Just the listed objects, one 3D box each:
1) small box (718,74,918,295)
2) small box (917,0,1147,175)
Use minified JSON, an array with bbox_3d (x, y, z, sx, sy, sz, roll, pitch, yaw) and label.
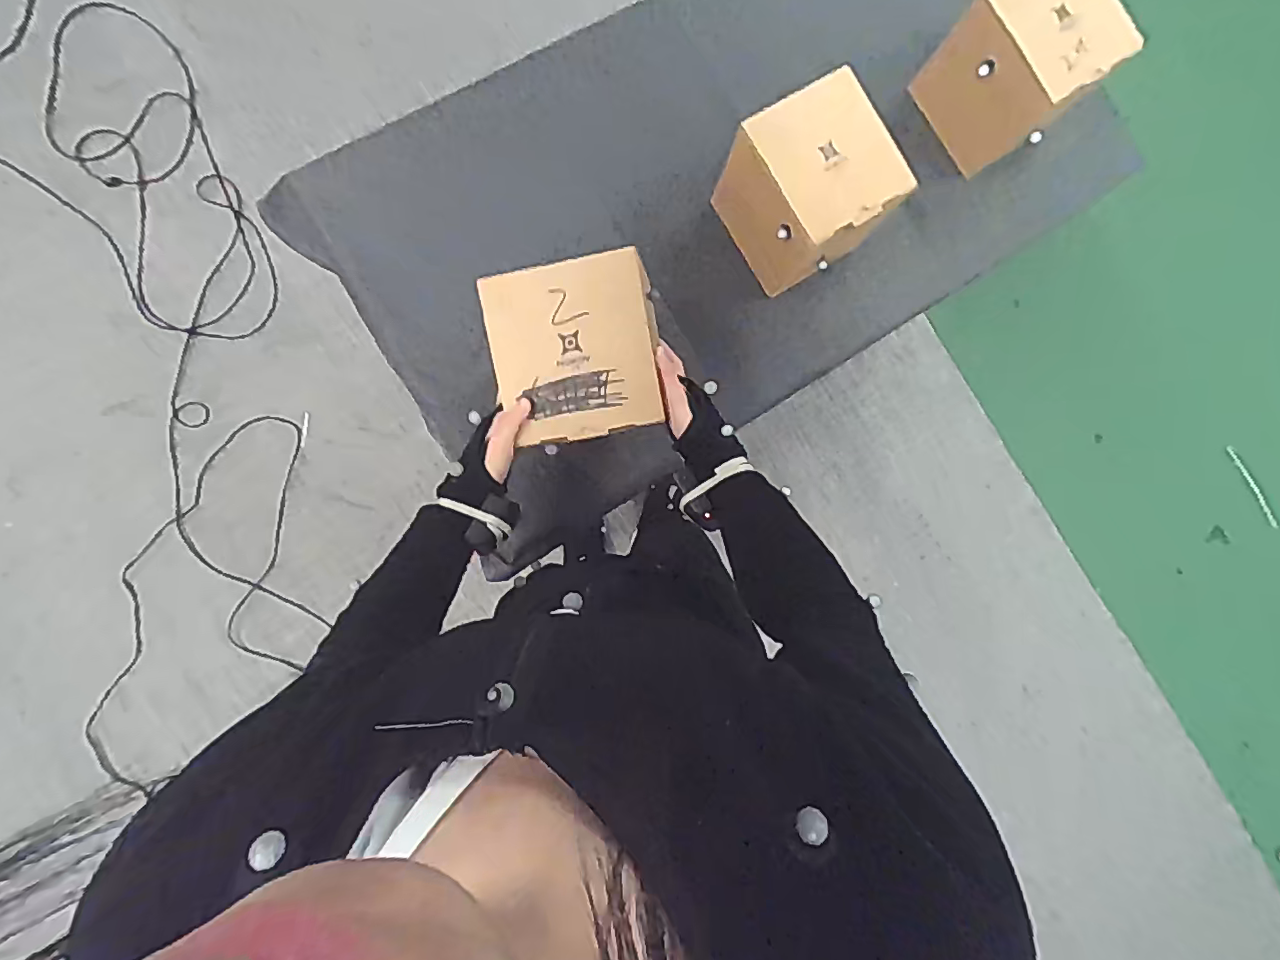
[{"bbox_3d":[0.231,-0.393,0.751,0.168,0.176,0.179,-32,91,-6],"label":"small box"},{"bbox_3d":[0.549,-0.595,0.784,0.168,0.176,0.179,-34,91,-5],"label":"small box"}]
